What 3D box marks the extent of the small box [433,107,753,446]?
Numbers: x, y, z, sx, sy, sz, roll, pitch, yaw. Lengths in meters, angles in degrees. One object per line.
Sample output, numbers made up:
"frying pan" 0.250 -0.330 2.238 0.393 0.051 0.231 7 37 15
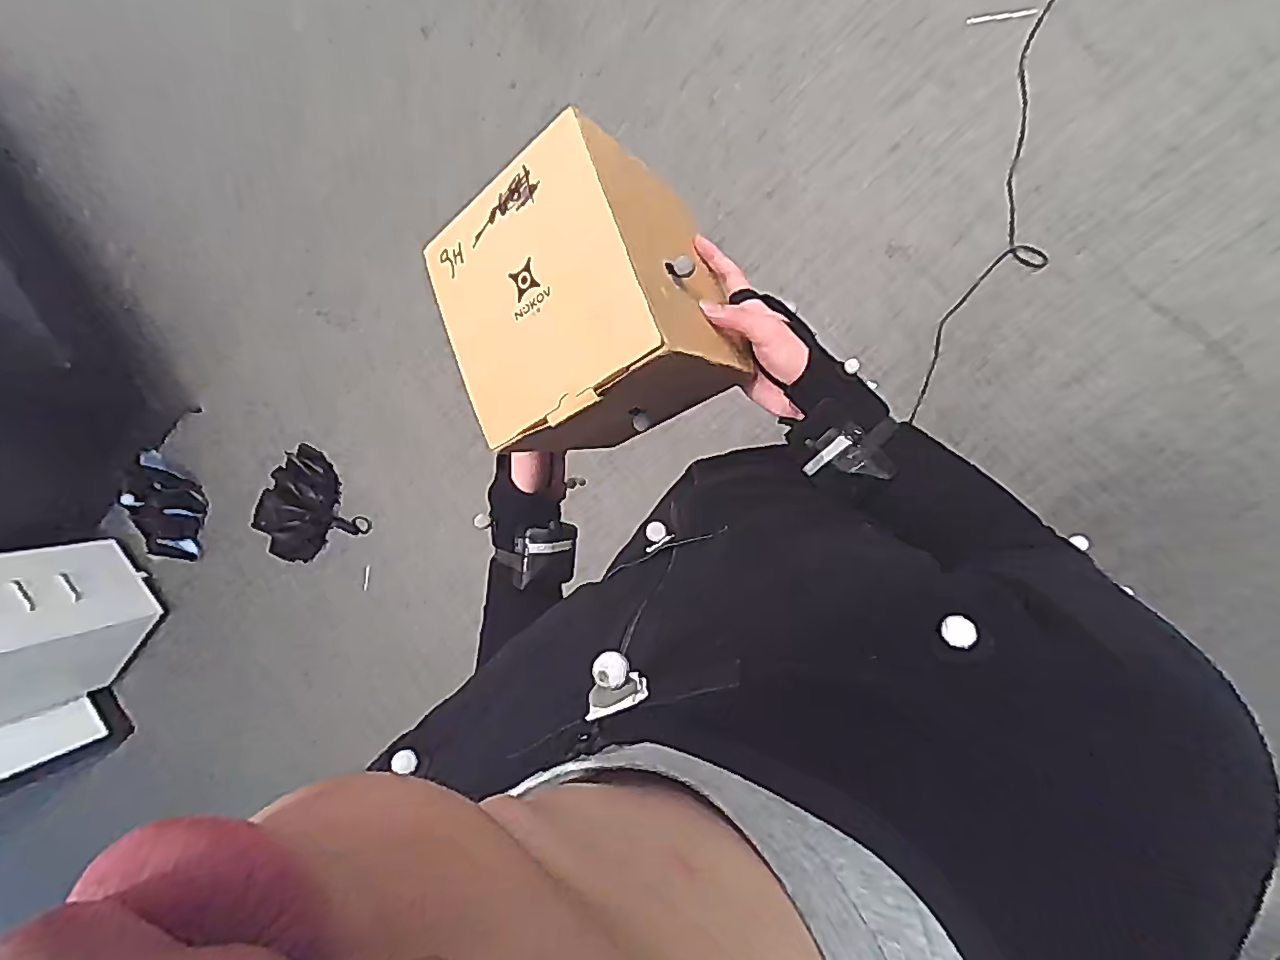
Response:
"small box" -0.029 -0.142 0.446 0.168 0.176 0.179 -25 83 30
